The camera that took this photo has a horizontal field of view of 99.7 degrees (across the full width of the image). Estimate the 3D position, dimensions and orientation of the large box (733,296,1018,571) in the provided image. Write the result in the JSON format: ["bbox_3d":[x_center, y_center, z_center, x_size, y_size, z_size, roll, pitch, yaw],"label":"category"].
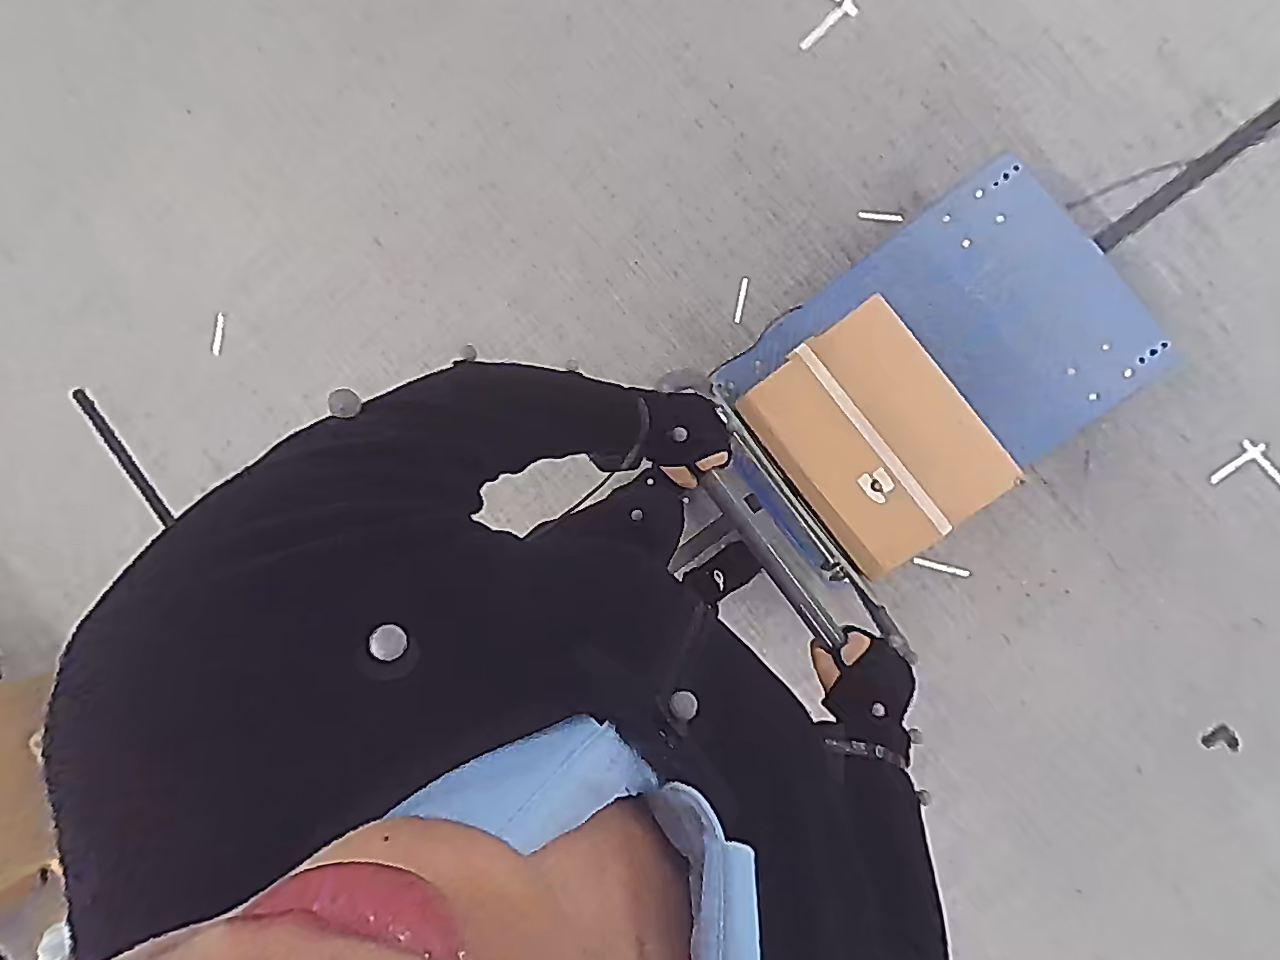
[{"bbox_3d":[0.433,-0.089,1.106,0.320,0.320,0.408,-38,87,10],"label":"large box"}]
